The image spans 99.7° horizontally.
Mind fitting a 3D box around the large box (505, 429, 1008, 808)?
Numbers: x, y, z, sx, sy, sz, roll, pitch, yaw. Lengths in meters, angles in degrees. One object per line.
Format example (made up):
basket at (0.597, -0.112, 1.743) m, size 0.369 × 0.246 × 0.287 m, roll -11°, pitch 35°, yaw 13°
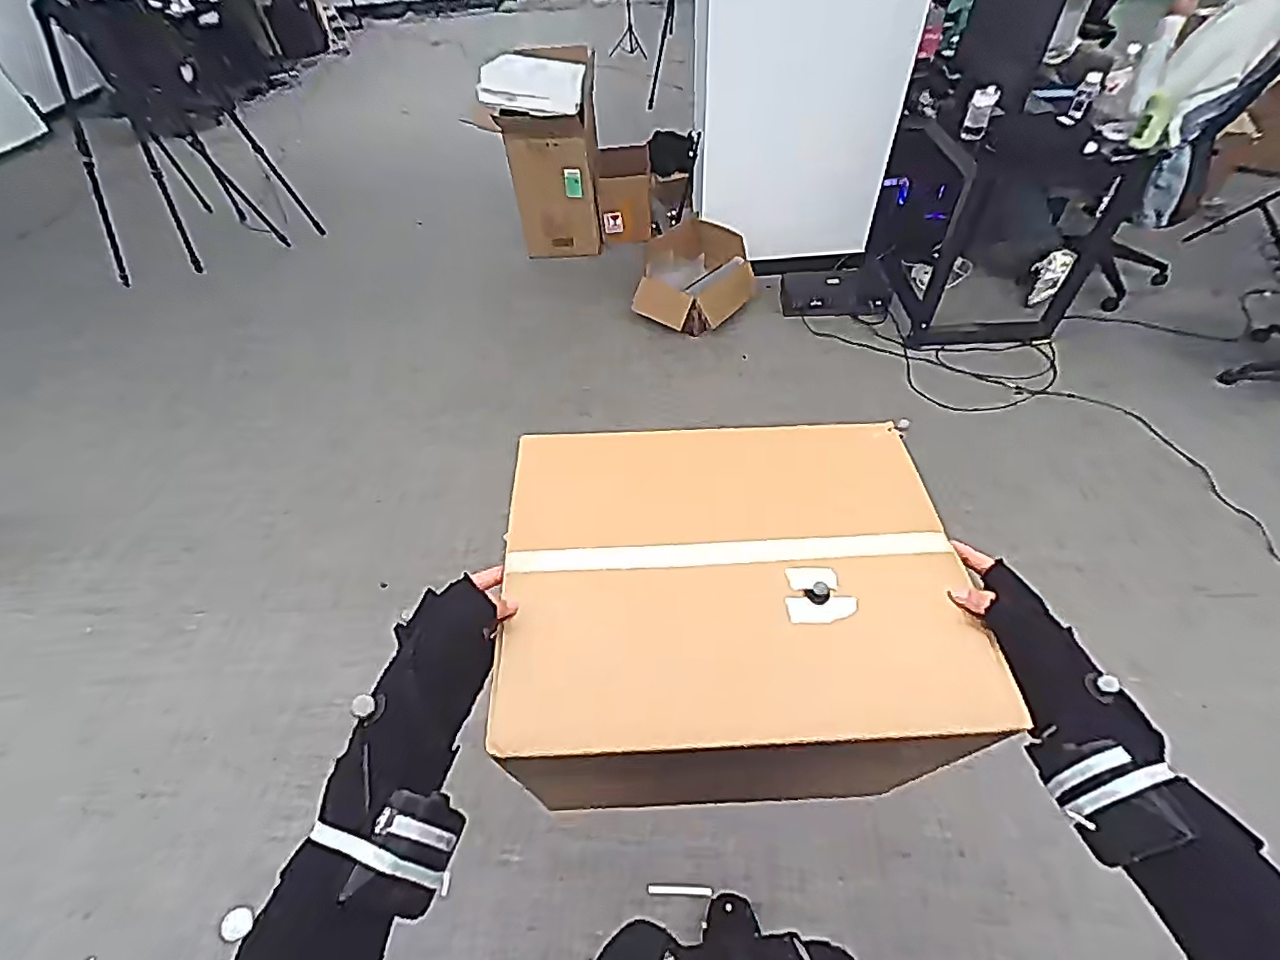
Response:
large box at (0.082, 0.165, 0.622) m, size 0.408 × 0.320 × 0.320 m, roll -2°, pitch 53°, yaw -2°
